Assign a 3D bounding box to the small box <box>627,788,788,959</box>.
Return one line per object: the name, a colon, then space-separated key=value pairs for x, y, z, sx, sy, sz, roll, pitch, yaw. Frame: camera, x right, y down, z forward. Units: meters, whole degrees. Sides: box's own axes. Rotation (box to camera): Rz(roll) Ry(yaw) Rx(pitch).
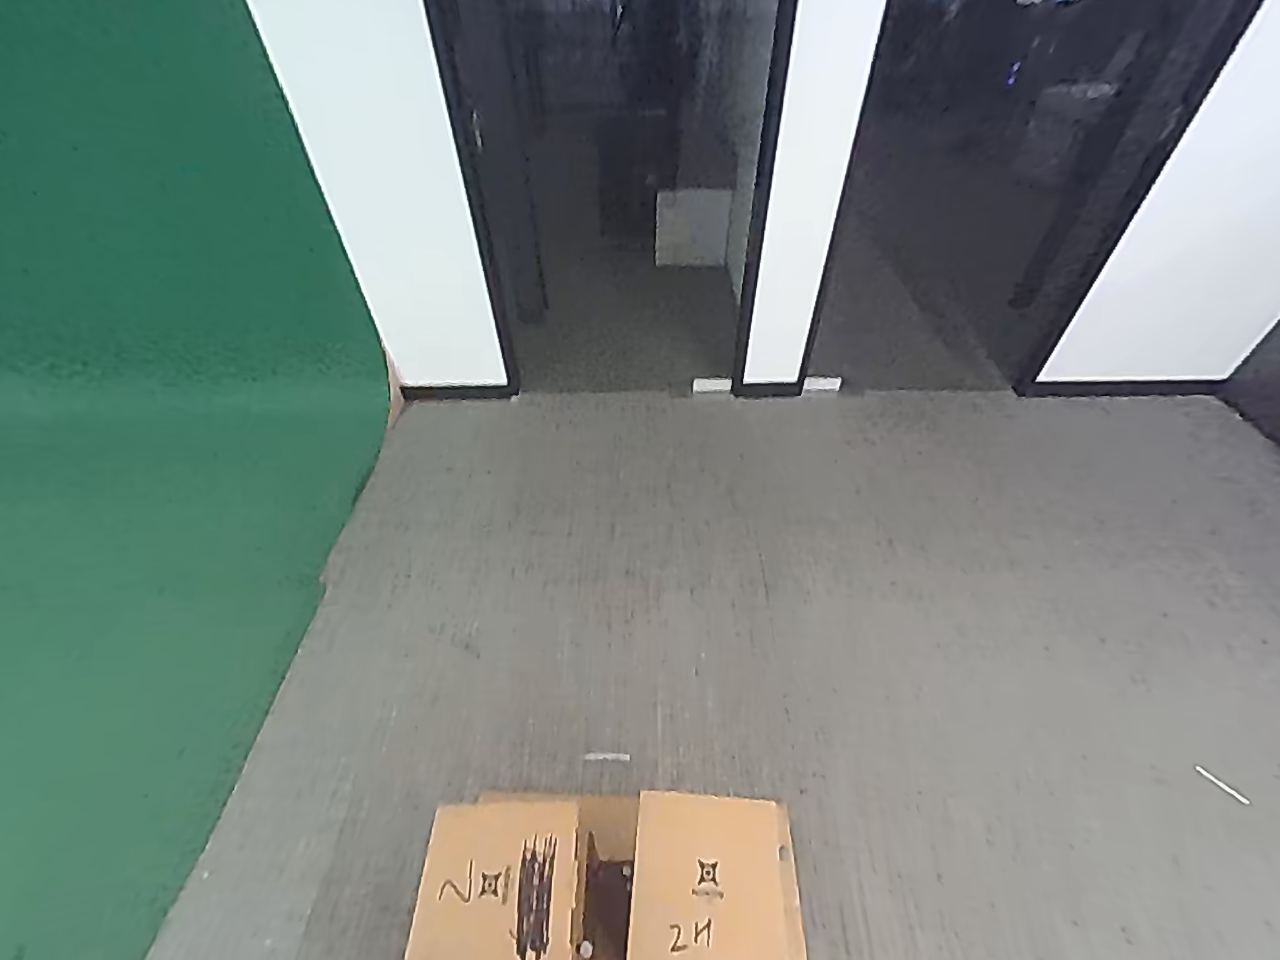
small box: x=0.078 y=0.500 z=0.653 sx=0.168 sy=0.176 sz=0.179 roll=1 pitch=45 yaw=6
